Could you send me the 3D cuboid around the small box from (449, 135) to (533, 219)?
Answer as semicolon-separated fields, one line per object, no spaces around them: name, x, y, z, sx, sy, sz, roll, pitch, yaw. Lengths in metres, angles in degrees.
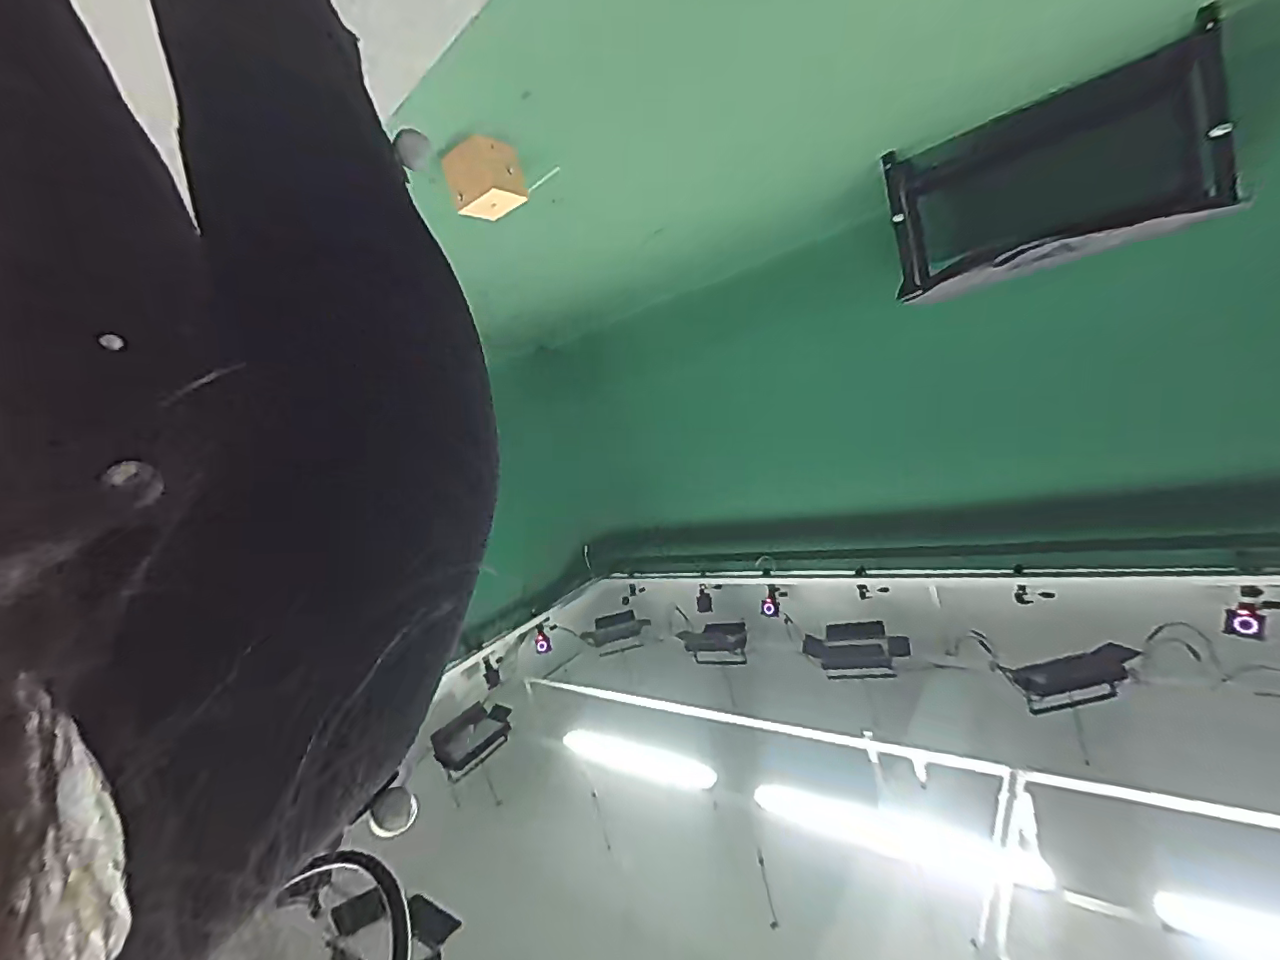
small box;-0.479;-0.963;1.726;0.179;0.176;0.168;-11;-171;34
